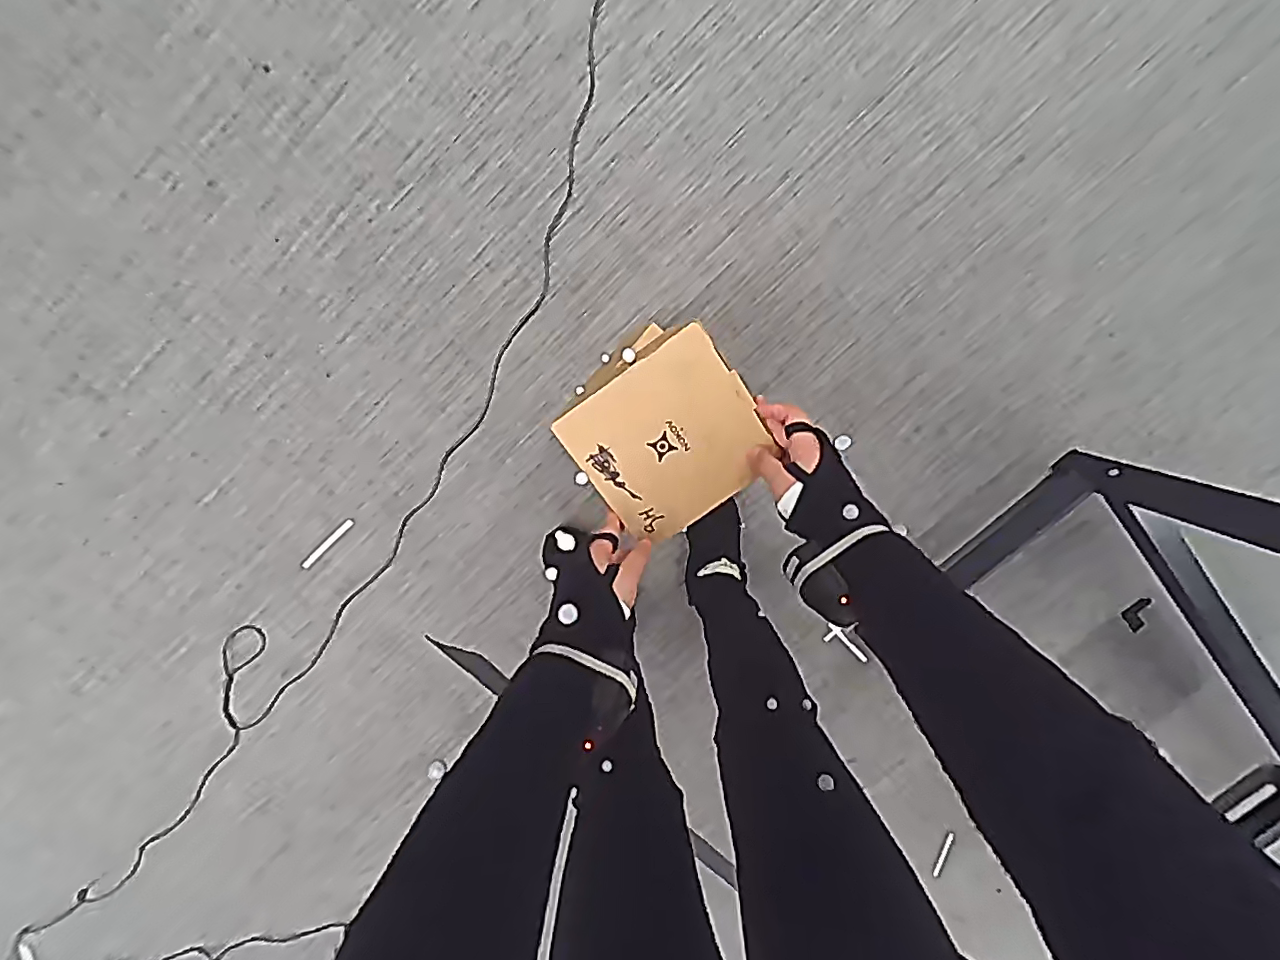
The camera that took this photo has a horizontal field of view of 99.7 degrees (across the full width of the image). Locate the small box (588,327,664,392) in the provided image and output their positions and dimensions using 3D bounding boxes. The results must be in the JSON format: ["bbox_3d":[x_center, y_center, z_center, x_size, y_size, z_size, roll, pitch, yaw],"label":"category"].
[{"bbox_3d":[0.014,-0.097,0.775,0.168,0.176,0.179,39,98,-13],"label":"small box"}]

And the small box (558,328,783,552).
[{"bbox_3d":[0.026,-0.055,0.615,0.179,0.176,0.168,-36,103,5],"label":"small box"}]
